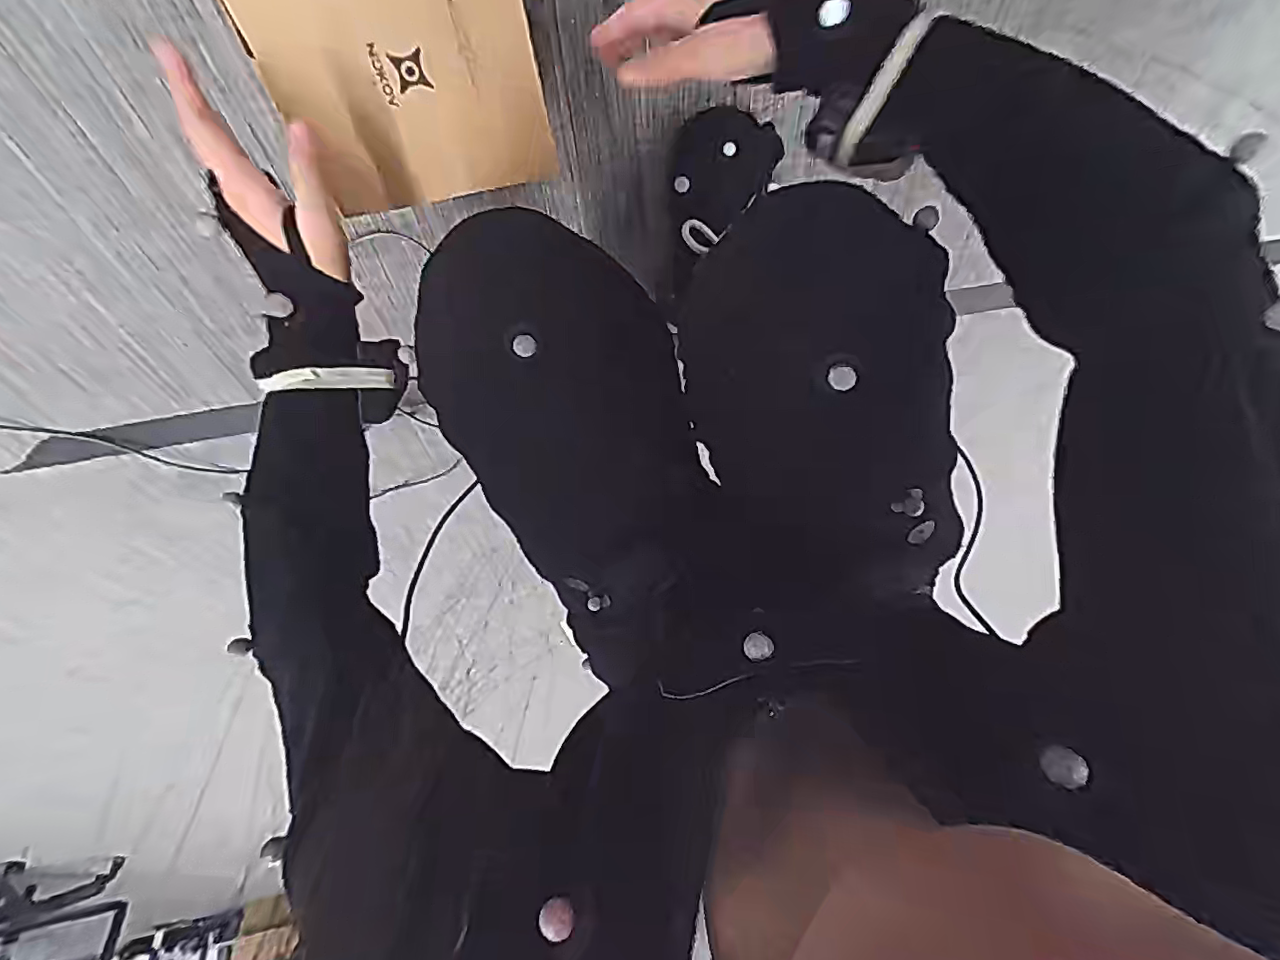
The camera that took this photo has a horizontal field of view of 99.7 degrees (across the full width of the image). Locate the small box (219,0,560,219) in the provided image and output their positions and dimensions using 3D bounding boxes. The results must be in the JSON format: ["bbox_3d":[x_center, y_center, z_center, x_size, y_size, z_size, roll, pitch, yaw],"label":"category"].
[{"bbox_3d":[-0.169,-0.330,0.403,0.179,0.176,0.168,-14,144,-1],"label":"small box"}]
